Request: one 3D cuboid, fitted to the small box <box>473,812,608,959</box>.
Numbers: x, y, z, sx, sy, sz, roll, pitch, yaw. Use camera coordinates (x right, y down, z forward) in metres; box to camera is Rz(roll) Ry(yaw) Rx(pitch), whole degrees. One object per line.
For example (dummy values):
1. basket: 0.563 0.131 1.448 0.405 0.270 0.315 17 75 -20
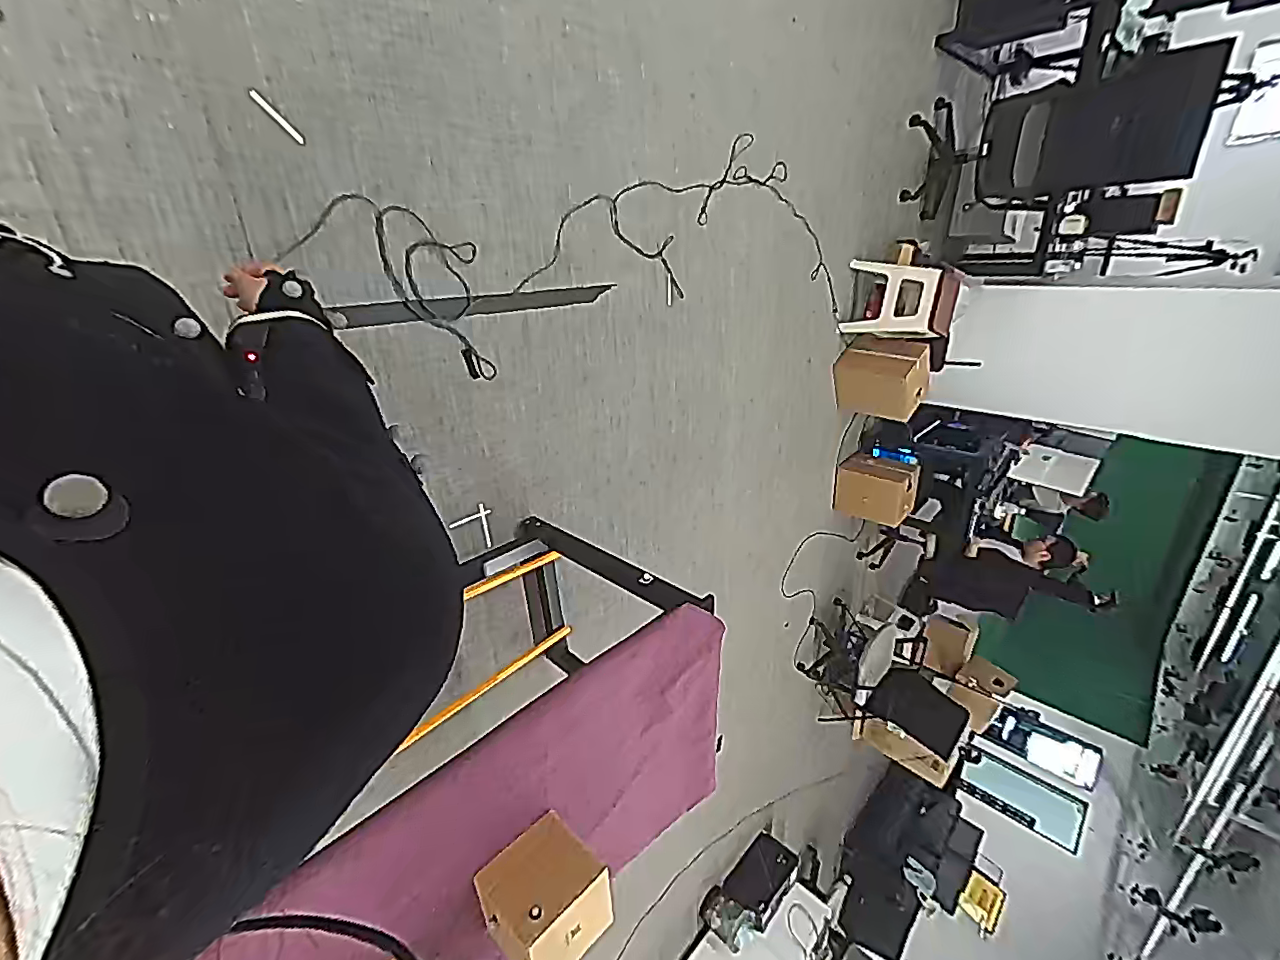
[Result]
1. small box: -0.180 0.768 0.996 0.179 0.176 0.168 -24 121 -40
